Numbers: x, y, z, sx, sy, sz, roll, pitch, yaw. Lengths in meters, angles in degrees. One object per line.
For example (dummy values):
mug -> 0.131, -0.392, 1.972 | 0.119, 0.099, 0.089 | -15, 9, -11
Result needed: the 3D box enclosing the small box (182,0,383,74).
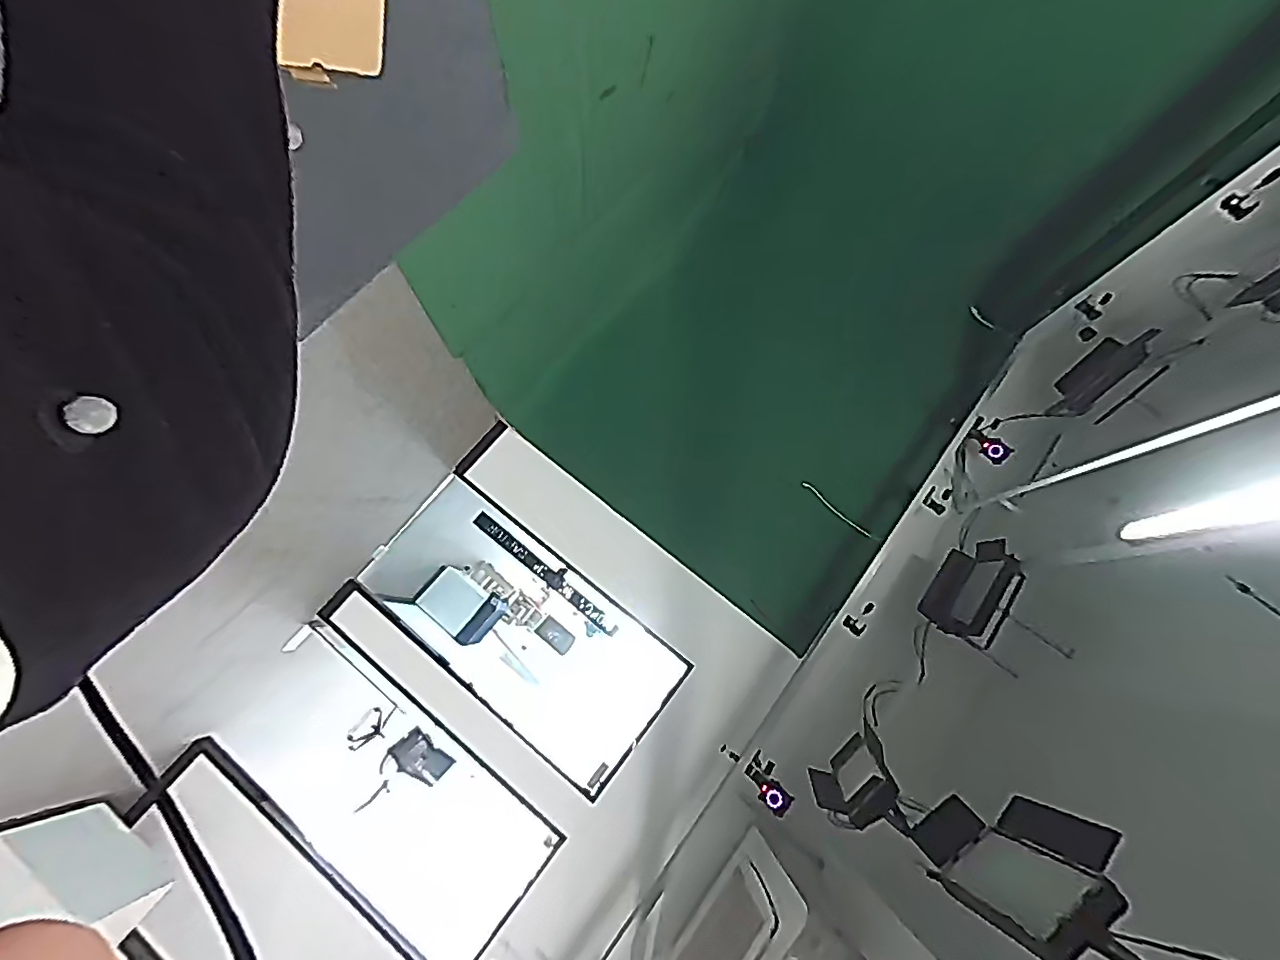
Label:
small box -> -0.392, -0.573, 0.561 | 0.168, 0.176, 0.179 | -39, 166, -48
